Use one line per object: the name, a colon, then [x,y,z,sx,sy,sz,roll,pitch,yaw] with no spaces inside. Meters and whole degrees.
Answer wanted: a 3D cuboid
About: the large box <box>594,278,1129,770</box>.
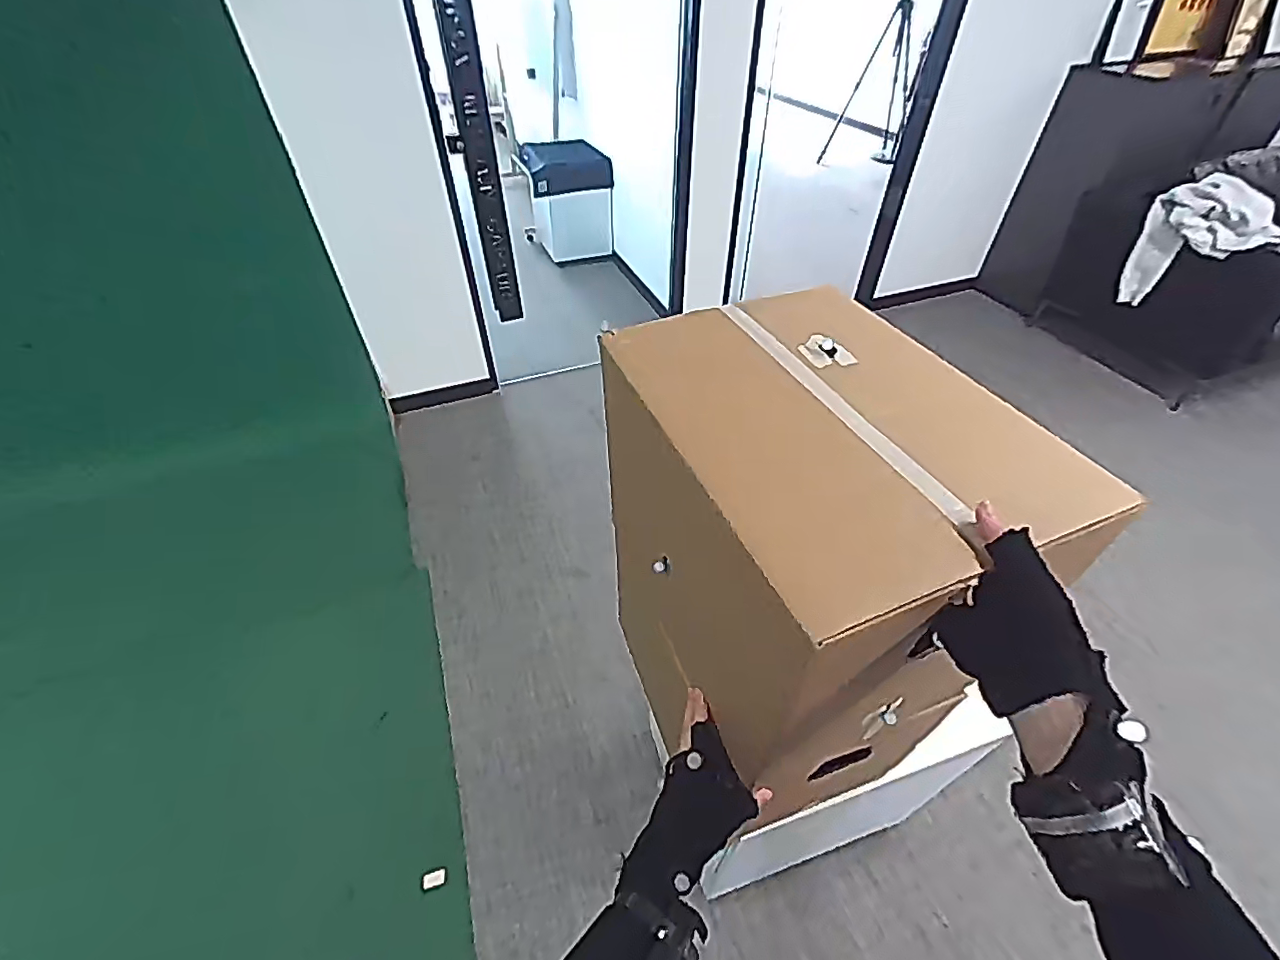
large box: [0.171,0.026,0.613,0.320,0.320,0.408,-17,47,-15]
